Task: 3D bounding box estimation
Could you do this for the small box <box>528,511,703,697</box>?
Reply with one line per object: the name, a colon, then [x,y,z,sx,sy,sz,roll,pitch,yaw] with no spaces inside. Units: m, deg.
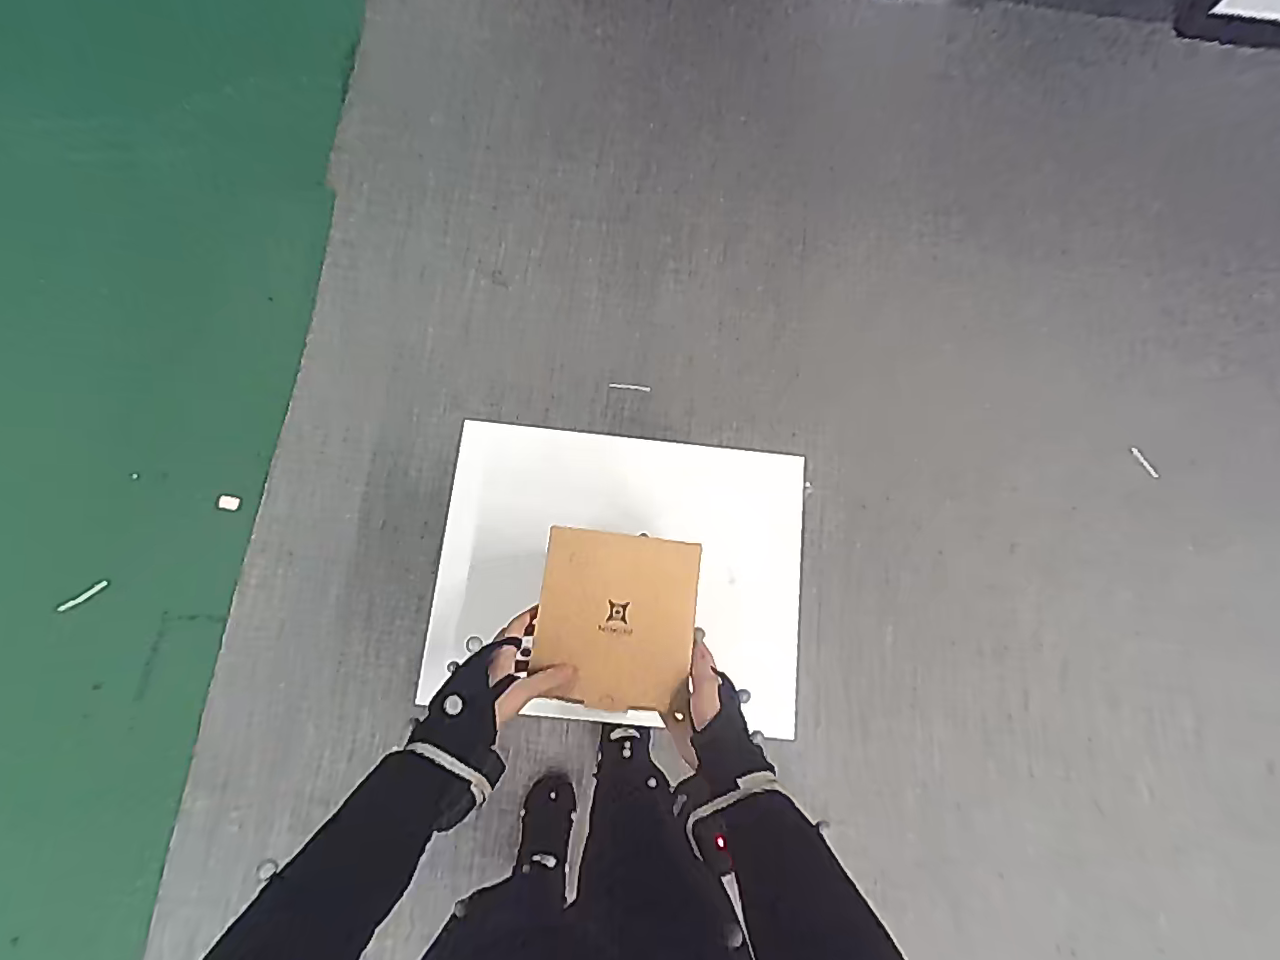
small box: [-0.027,0.148,0.638,0.168,0.176,0.179,7,74,-1]
